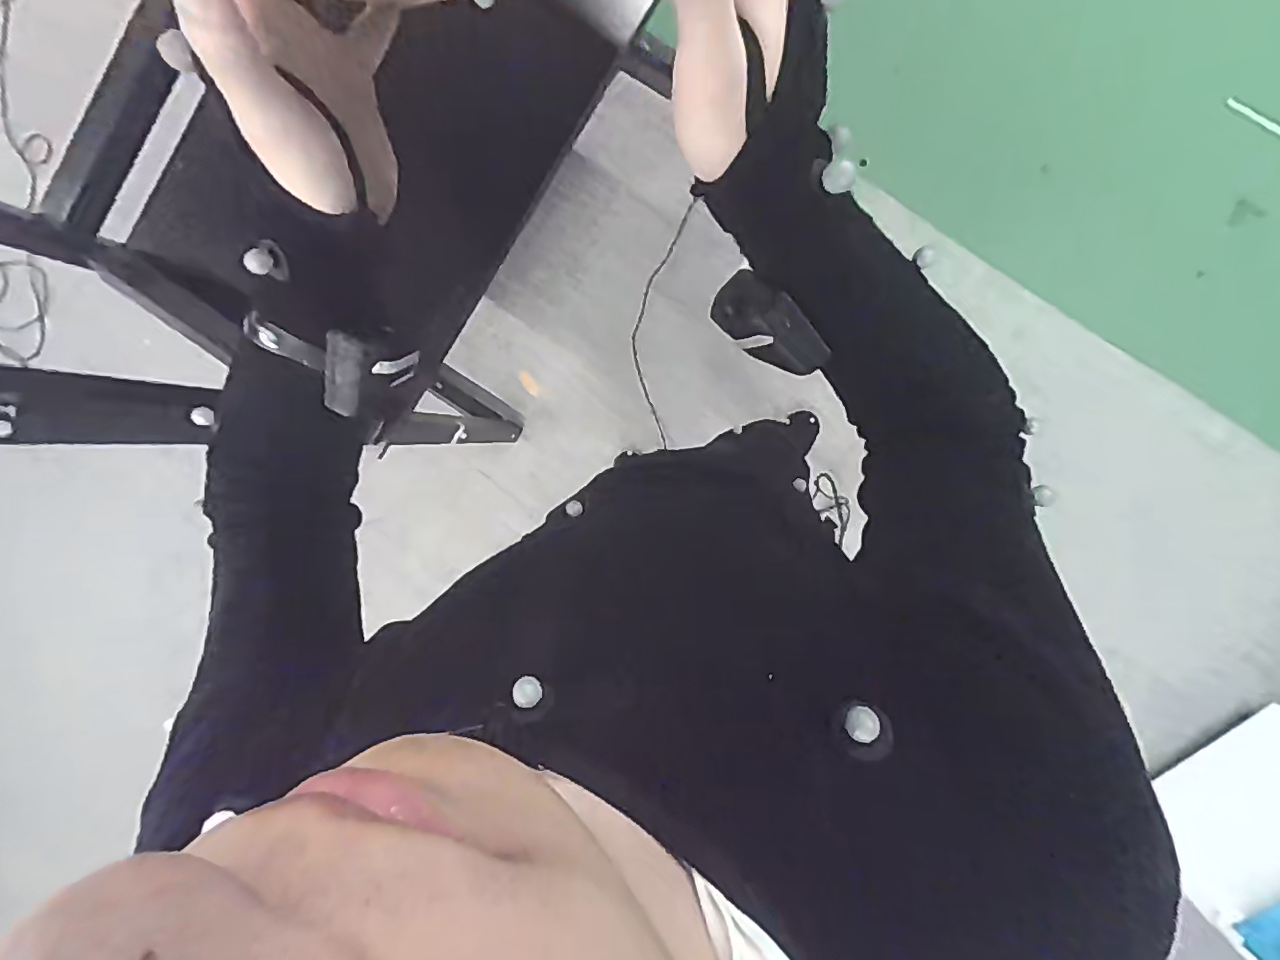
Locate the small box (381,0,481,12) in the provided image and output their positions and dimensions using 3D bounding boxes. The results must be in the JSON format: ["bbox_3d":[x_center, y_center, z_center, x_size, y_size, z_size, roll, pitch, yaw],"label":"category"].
[{"bbox_3d":[-0.070,-0.294,0.188,0.168,0.176,0.179,-7,129,6],"label":"small box"}]
